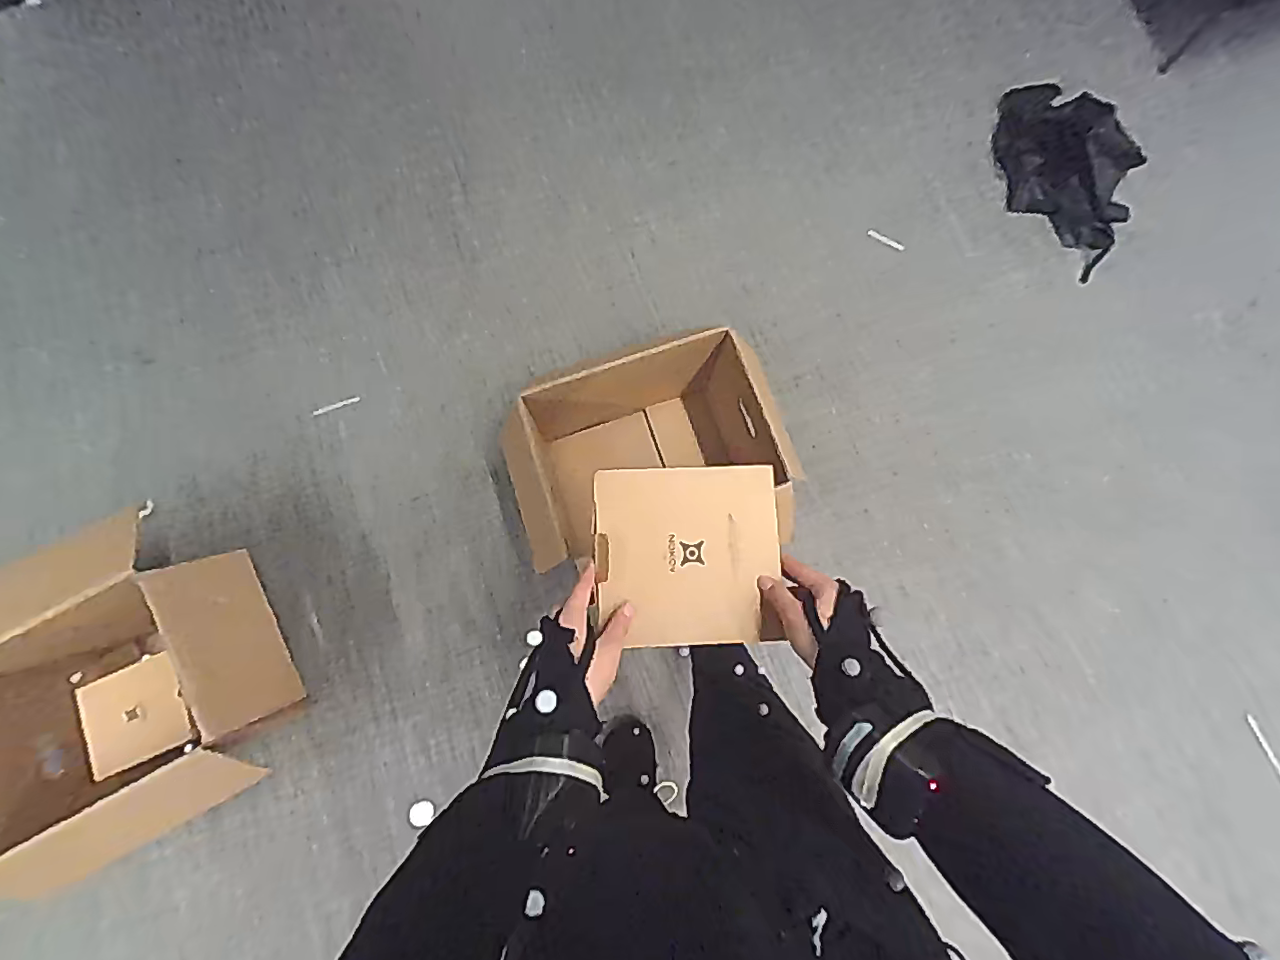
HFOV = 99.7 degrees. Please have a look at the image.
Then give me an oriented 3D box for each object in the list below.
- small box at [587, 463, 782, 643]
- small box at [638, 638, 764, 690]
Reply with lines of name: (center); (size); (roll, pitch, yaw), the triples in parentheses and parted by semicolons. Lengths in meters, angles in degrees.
small box: (0.036, 0.080, 0.576); (0.179, 0.176, 0.168); (-2, 80, -4)
small box: (0.109, 0.279, 1.053); (0.179, 0.168, 0.176); (22, 115, -14)
